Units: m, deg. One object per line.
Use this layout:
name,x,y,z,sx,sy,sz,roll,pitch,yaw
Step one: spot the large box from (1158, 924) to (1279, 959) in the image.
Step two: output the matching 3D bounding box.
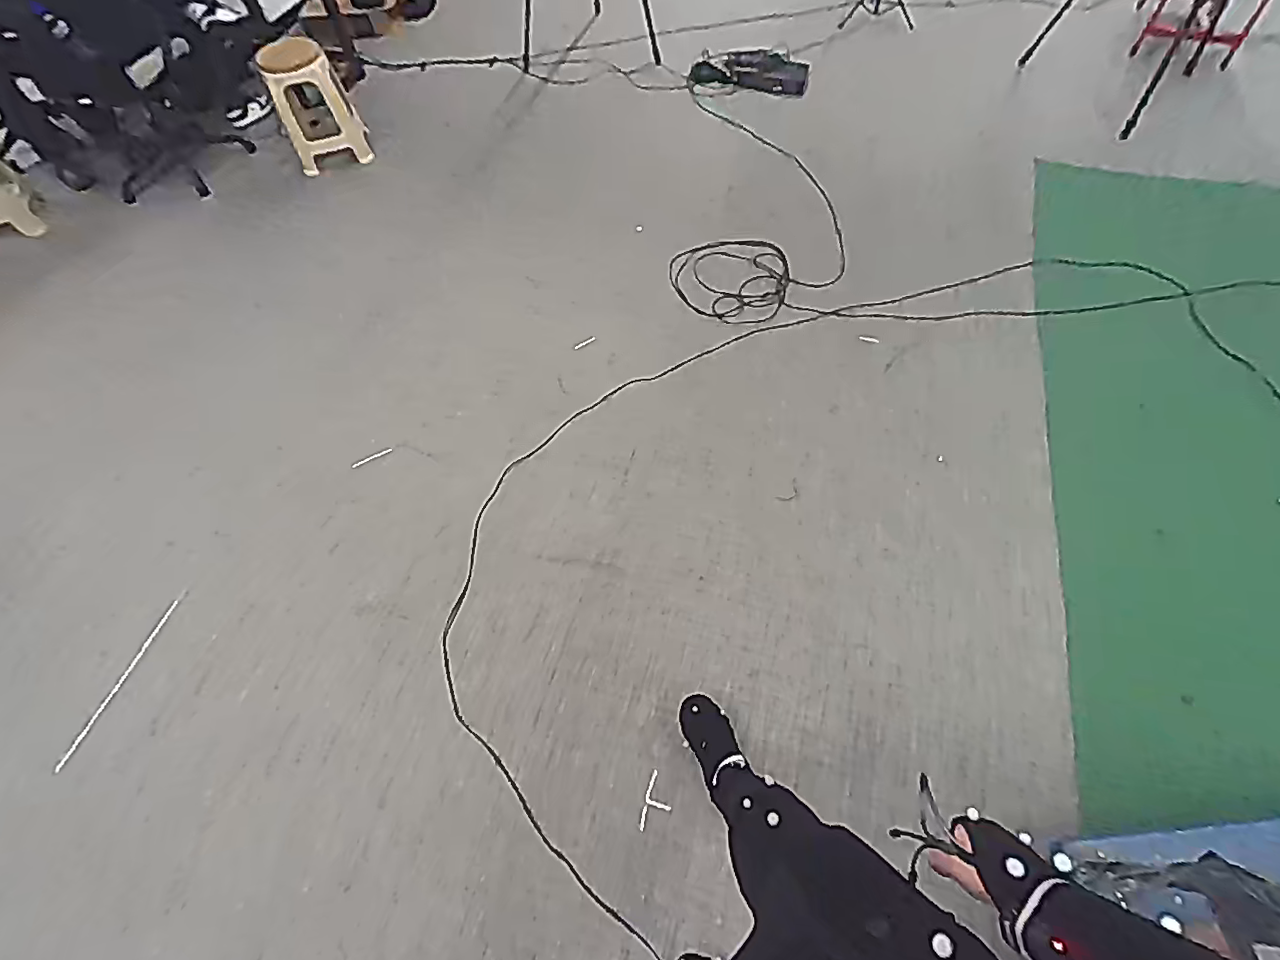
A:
large box,1.181,0.902,0.827,0.408,0.320,0.320,-5,59,-1
